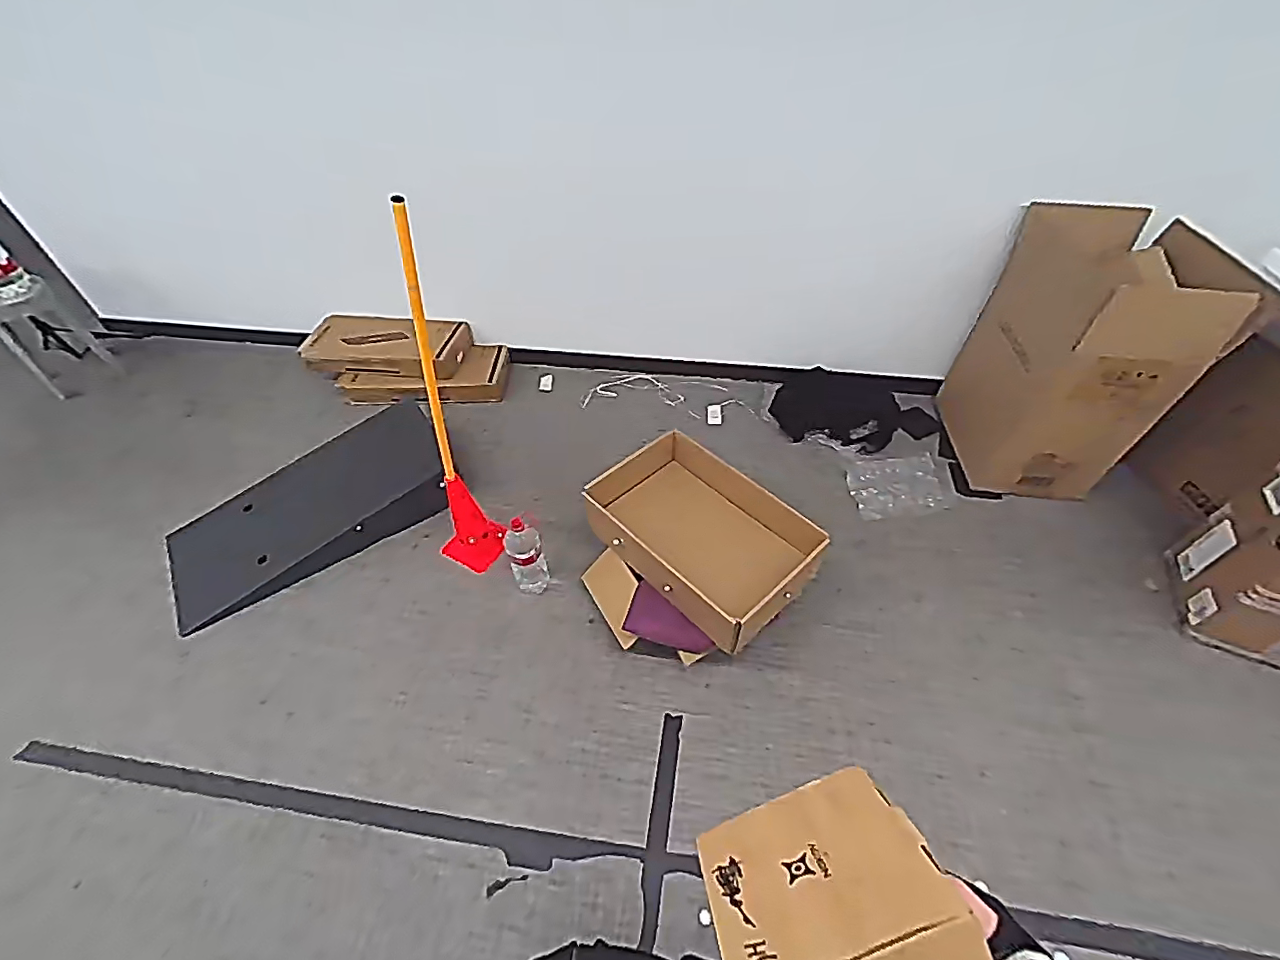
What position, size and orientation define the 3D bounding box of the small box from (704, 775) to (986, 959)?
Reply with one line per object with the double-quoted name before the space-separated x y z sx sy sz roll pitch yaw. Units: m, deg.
"small box" 0.174 0.401 0.456 0.179 0.168 0.176 -22 93 -2
